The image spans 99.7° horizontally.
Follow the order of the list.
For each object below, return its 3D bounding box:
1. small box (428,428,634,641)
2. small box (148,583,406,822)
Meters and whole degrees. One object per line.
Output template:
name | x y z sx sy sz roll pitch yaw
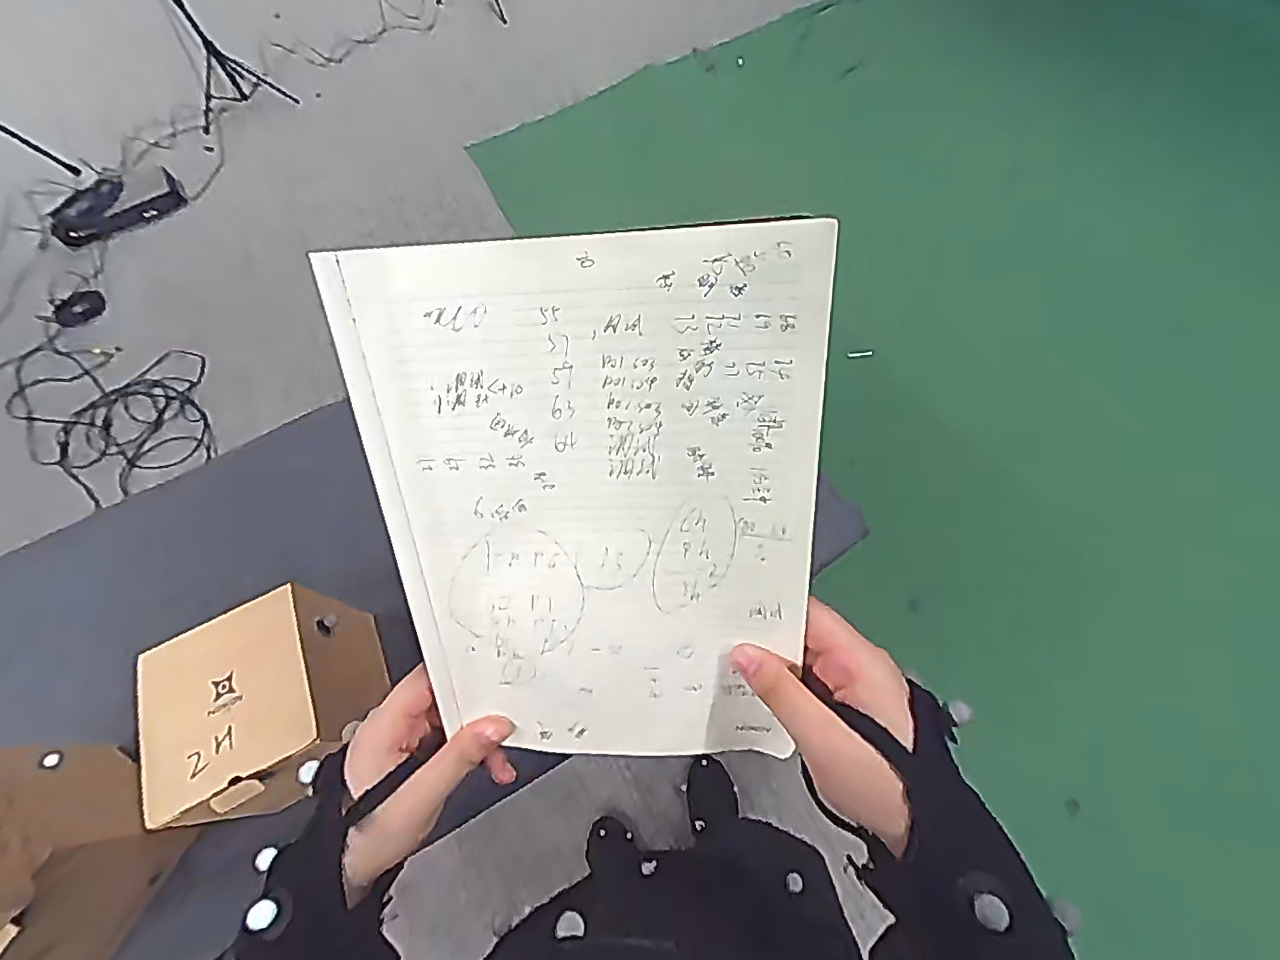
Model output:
small box | -0.119 0.074 0.663 0.179 0.176 0.168 -31 64 -8
small box | -0.396 0.248 0.609 0.168 0.176 0.179 -27 64 -6
